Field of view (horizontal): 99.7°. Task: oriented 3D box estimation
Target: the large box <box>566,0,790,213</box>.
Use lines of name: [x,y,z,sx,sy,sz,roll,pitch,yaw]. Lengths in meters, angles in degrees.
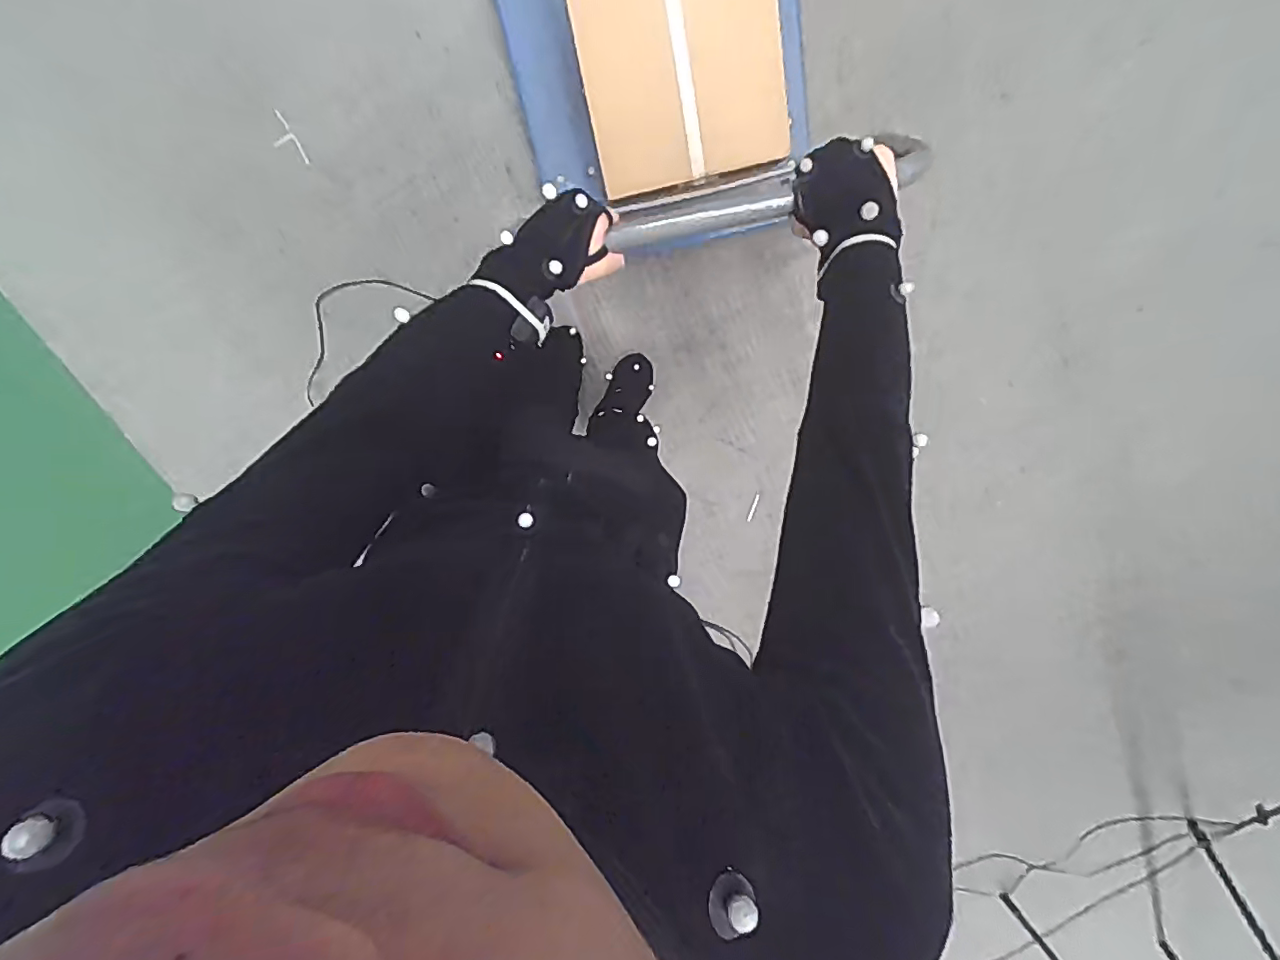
large box: [0.063,-0.741,0.972,0.320,0.320,0.408,-11,112,6]
